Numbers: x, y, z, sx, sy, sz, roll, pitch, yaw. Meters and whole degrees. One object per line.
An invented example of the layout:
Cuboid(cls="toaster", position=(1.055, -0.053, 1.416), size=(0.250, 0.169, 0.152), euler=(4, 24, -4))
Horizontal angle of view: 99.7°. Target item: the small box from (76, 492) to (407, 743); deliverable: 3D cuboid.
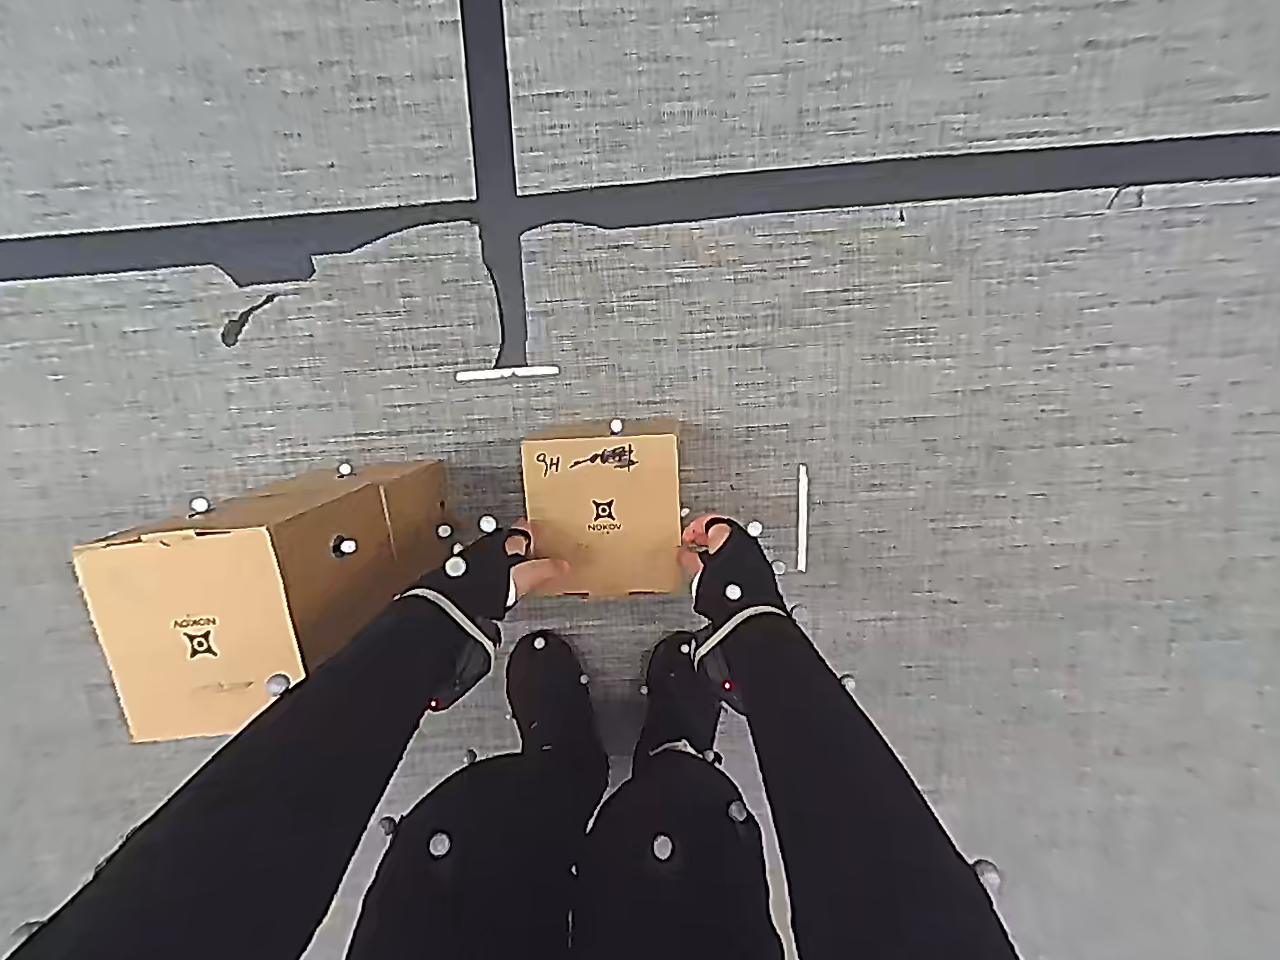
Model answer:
Cuboid(cls="small box", position=(-0.351, 0.114, 0.517), size=(0.168, 0.176, 0.179), euler=(-7, 102, 4))

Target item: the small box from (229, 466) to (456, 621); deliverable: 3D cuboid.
Cuboid(cls="small box", position=(-0.353, 0.080, 0.676), size=(0.179, 0.176, 0.168), euler=(-5, 101, 1))

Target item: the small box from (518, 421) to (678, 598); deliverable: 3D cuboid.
Cuboid(cls="small box", position=(-0.038, 0.027, 0.661), size=(0.168, 0.176, 0.179), euler=(-3, 102, 4))
